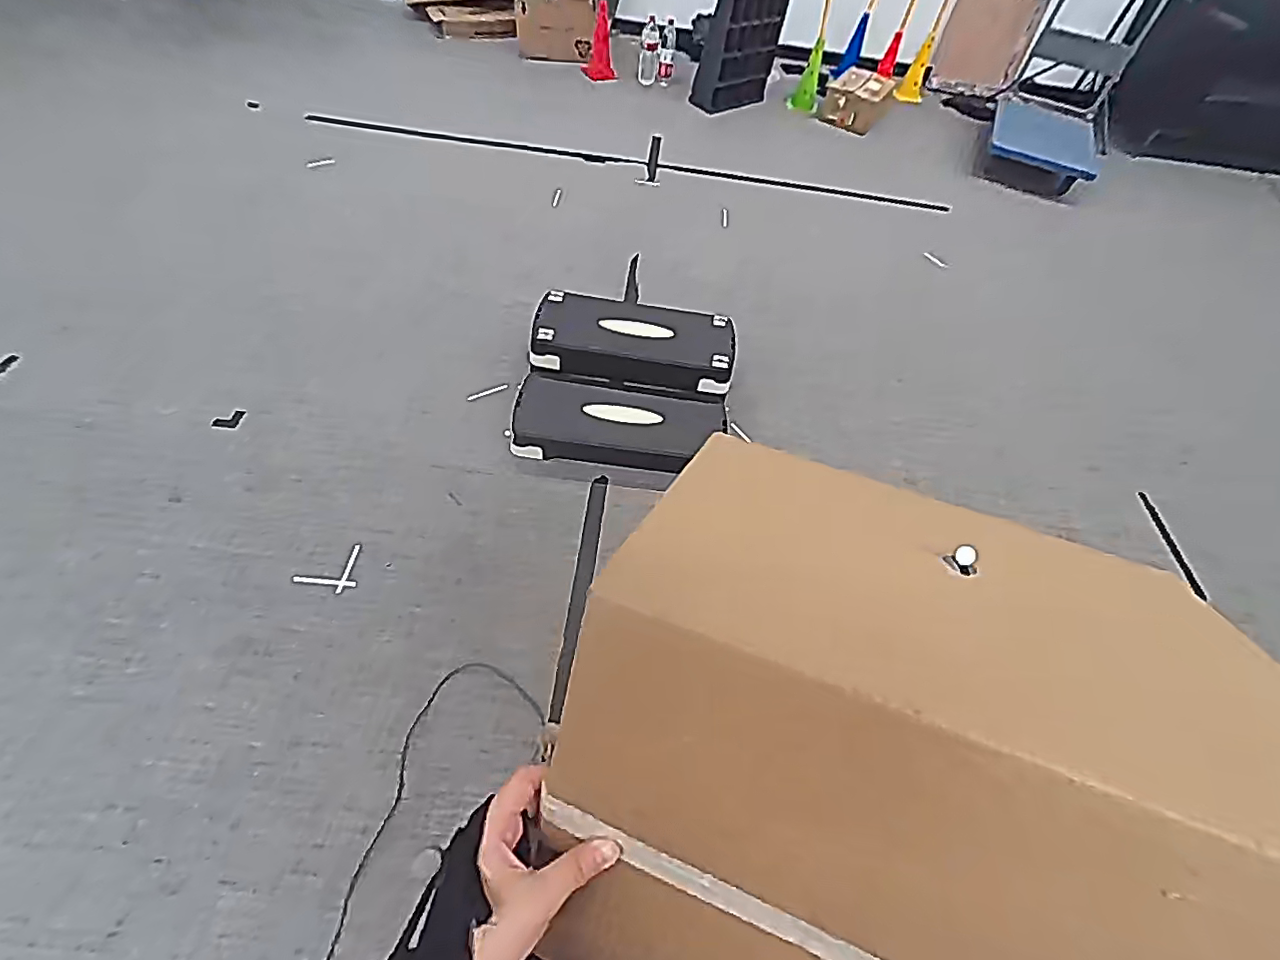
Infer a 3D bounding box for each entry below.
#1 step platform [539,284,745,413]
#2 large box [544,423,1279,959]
[{"bbox_3d":[0.010,-0.451,1.838,0.684,0.204,0.286,13,54,1],"label":"step platform"},{"bbox_3d":[0.189,0.179,0.405,0.408,0.320,0.320,18,25,12],"label":"large box"}]
